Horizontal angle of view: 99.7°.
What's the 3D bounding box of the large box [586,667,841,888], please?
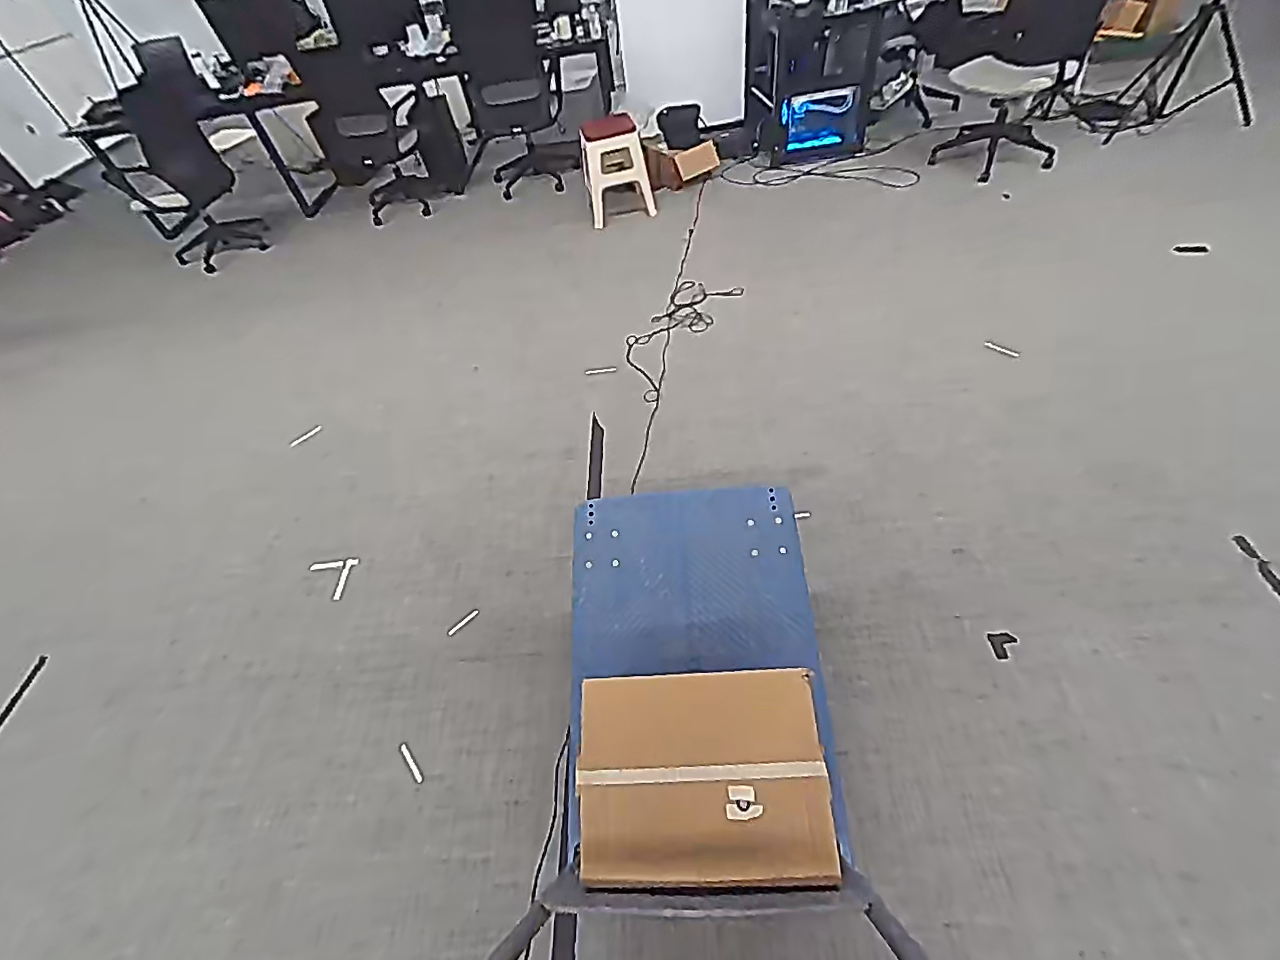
[{"bbox_3d":[0.122,0.555,1.043,0.408,0.320,0.320,-6,64,5],"label":"large box"}]
